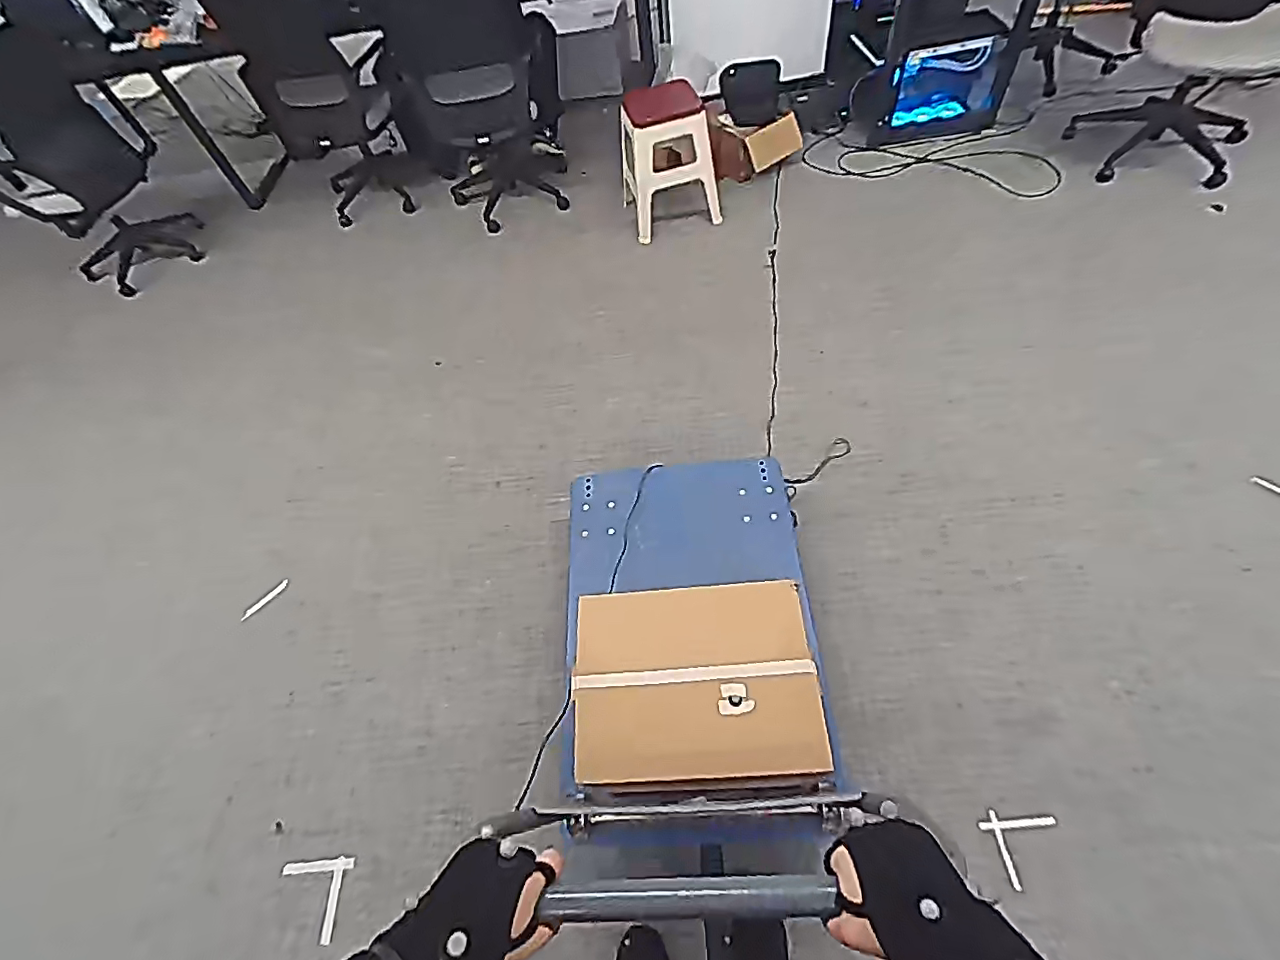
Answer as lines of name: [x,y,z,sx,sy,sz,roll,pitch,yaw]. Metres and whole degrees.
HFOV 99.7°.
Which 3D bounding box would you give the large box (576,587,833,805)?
large box: [0.103,0.421,1.028,0.408,0.320,0.320,-6,58,4]
